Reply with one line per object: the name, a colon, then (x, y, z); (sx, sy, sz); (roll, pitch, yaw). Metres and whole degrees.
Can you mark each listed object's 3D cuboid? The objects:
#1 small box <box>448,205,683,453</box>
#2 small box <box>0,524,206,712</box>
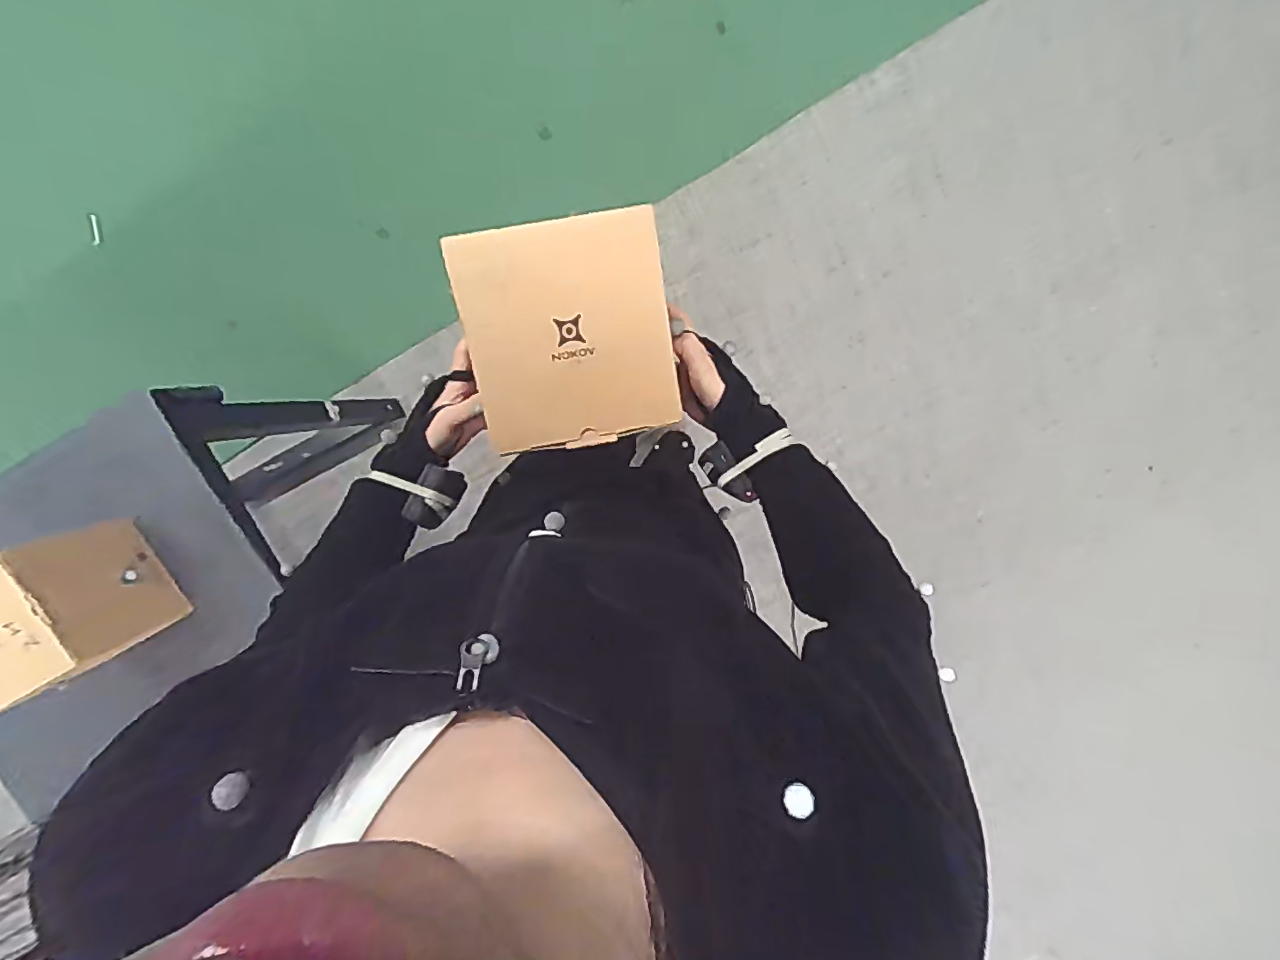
small box: (-0.064, -0.143, 0.521); (0.168, 0.176, 0.179); (-12, 109, -2)
small box: (-0.789, 0.185, 0.770); (0.179, 0.176, 0.168); (-29, 97, 9)
